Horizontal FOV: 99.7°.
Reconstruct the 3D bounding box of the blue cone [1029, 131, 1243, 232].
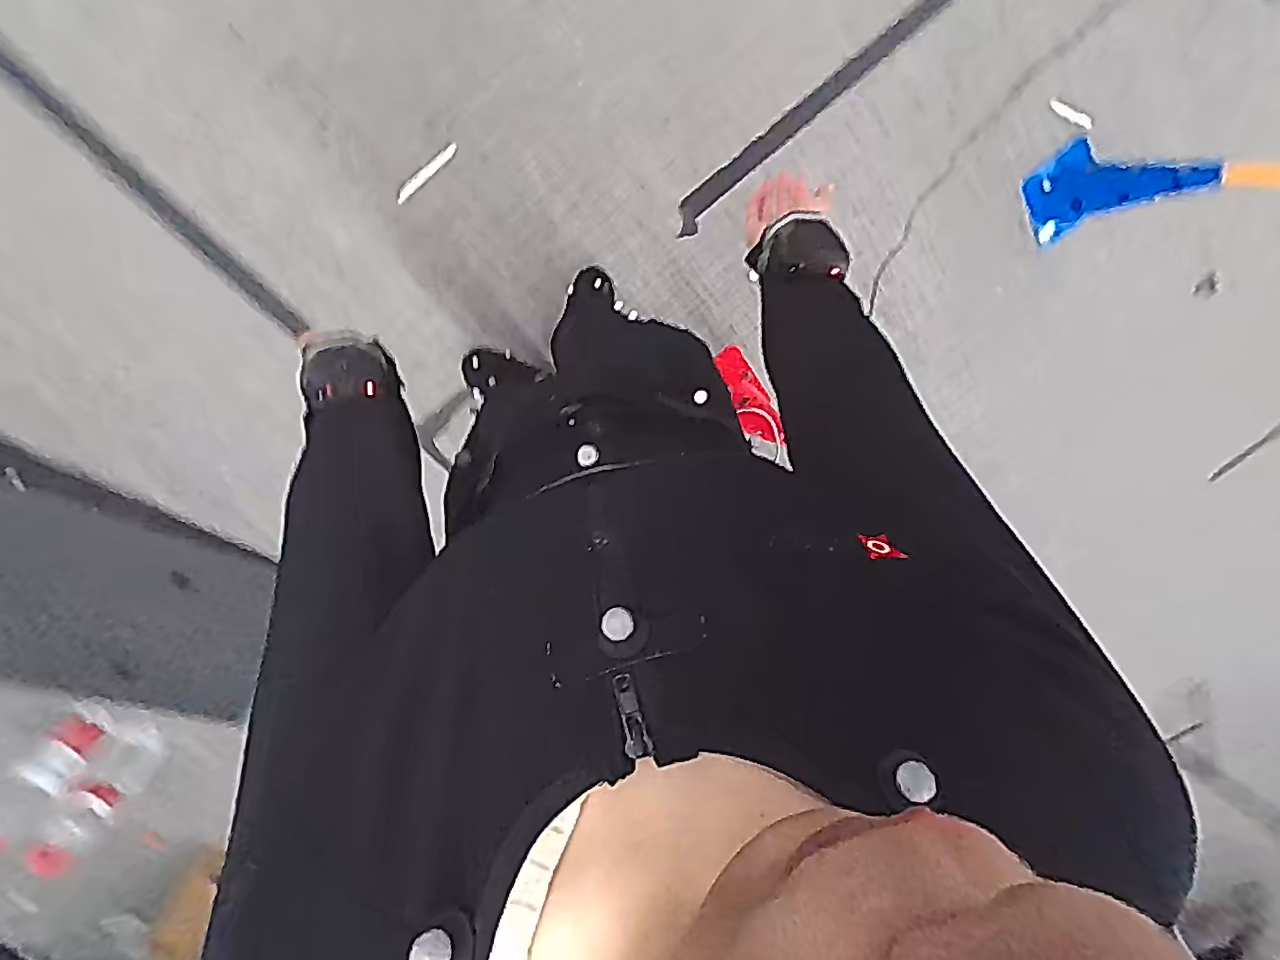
[{"bbox_3d":[1.132,-0.706,1.242,0.192,0.380,0.193,-38,114,2],"label":"blue cone"}]
